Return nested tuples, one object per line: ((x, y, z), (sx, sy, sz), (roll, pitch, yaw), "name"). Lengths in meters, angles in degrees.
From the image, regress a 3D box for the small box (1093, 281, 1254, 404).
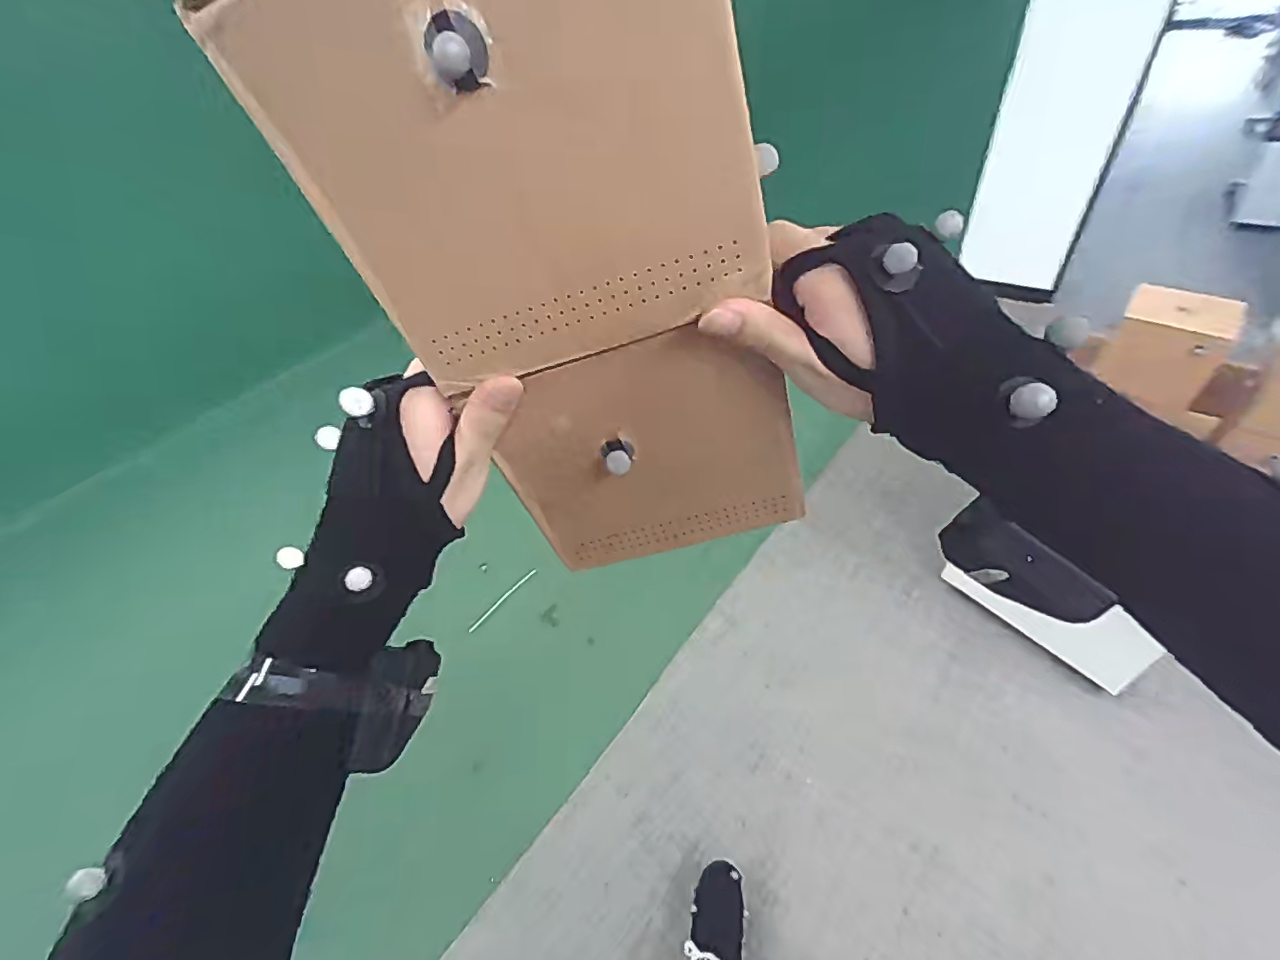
((1.082, -0.280, 1.110), (0.179, 0.176, 0.168), (29, 55, 30), "small box")

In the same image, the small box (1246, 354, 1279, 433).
((1.257, -0.175, 0.964), (0.179, 0.176, 0.168), (25, 53, 34), "small box")

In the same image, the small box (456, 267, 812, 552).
((0.007, -0.071, 0.382), (0.179, 0.176, 0.168), (-15, 42, 12), "small box")

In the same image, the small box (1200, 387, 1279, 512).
((1.277, -0.056, 1.075), (0.179, 0.176, 0.168), (27, 55, 34), "small box")

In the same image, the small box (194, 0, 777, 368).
((-0.042, -0.179, 0.269), (0.179, 0.176, 0.168), (-13, 42, 13), "small box")
